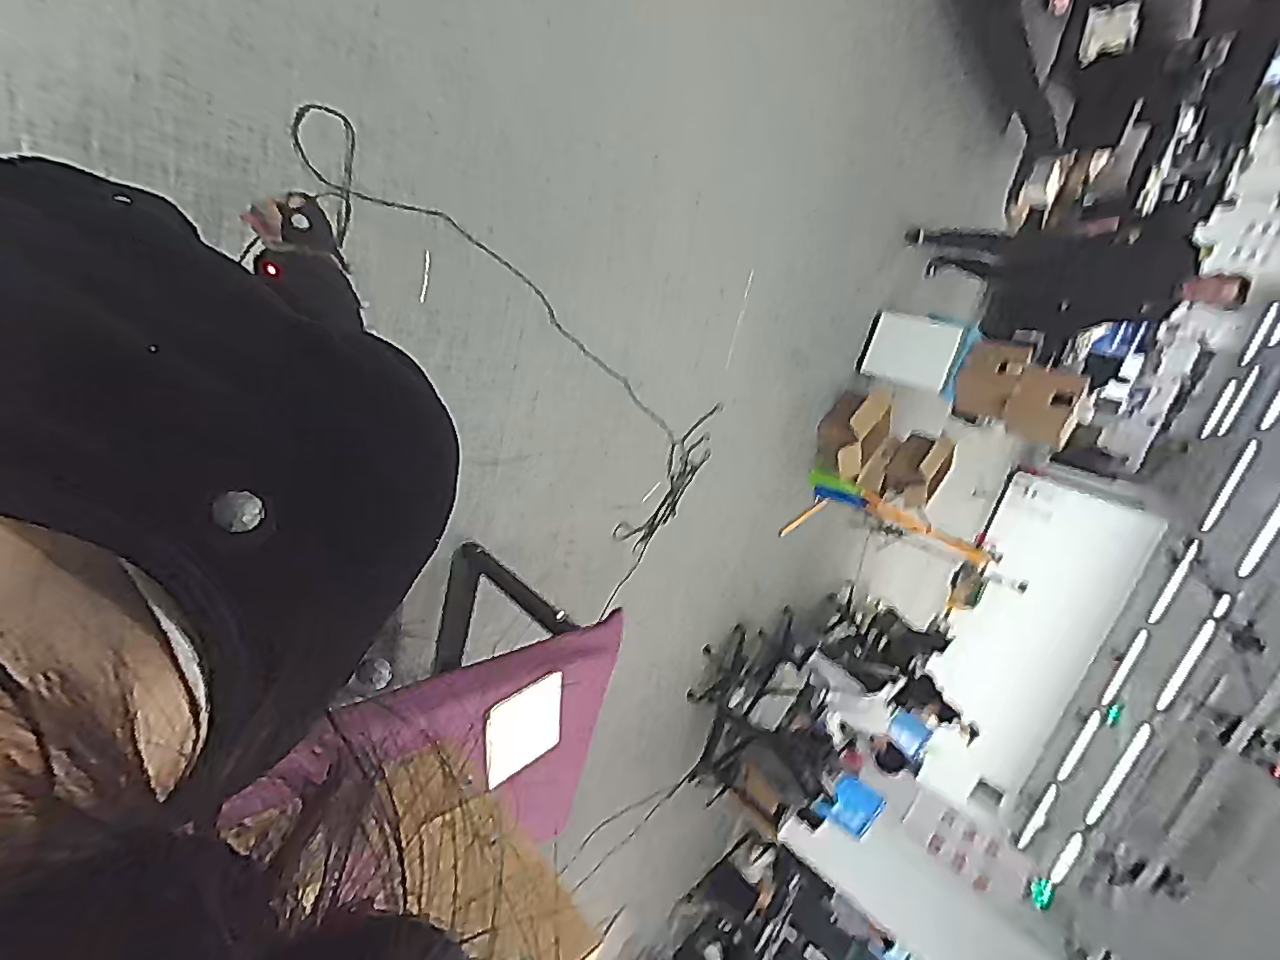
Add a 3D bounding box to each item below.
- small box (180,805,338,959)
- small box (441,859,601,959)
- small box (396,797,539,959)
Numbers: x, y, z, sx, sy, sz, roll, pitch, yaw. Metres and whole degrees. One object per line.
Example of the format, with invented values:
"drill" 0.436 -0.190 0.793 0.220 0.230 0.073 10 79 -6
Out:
"small box" -0.605 0.658 0.855 0.168 0.176 0.179 -1 113 -49
"small box" -0.197 0.761 0.853 0.179 0.176 0.168 2 112 -50
"small box" -0.310 0.705 0.960 0.168 0.176 0.179 -2 114 -50
